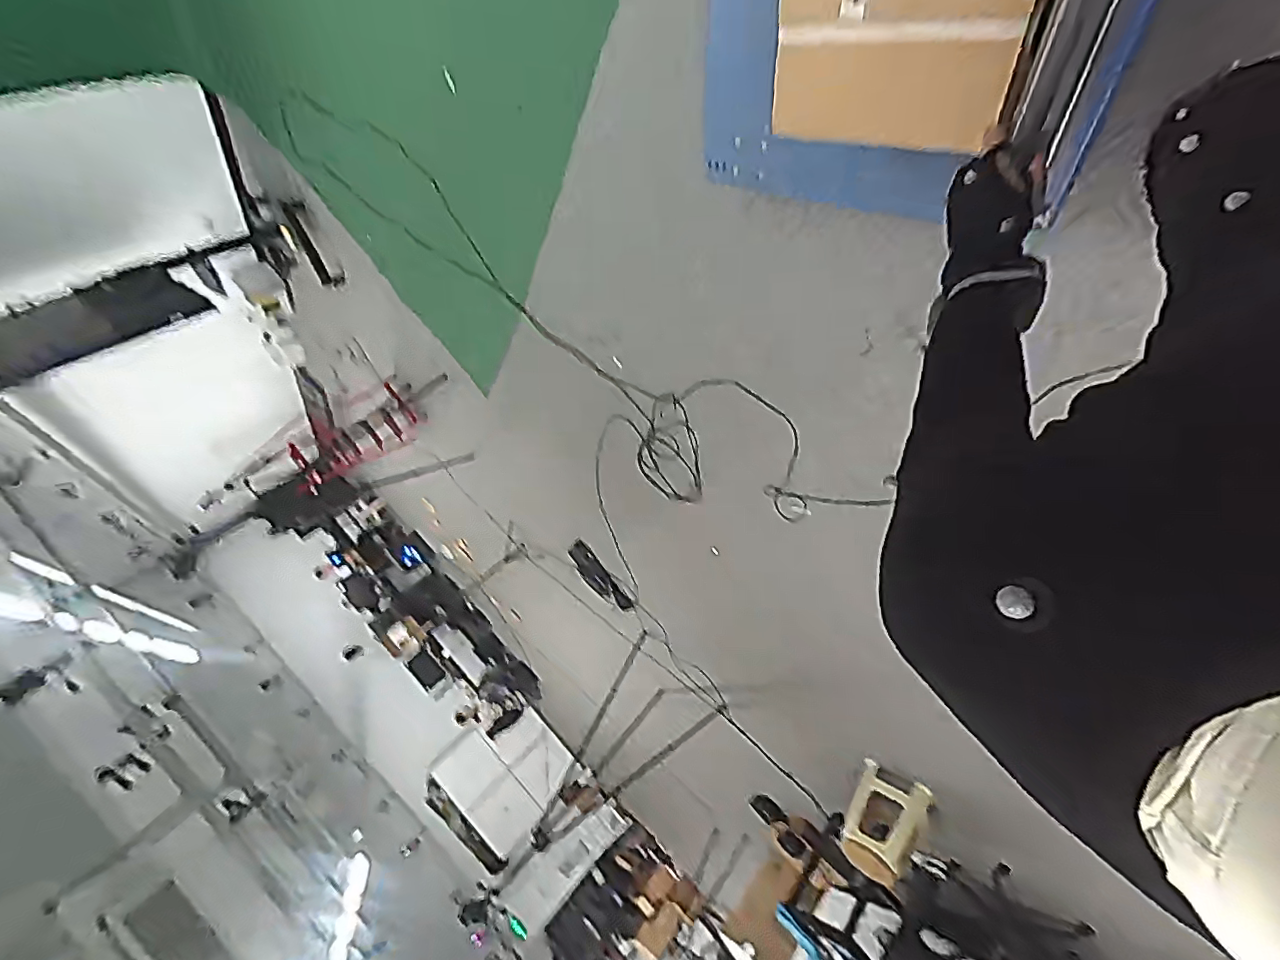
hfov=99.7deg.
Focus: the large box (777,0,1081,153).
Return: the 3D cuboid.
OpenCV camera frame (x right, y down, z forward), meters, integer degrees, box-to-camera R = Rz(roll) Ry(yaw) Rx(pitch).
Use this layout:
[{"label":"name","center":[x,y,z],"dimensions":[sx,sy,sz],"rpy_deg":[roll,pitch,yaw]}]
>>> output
[{"label":"large box","center":[0.508,-0.800,0.950],"dimensions":[0.408,0.320,0.320],"rpy_deg":[28,142,31]}]
